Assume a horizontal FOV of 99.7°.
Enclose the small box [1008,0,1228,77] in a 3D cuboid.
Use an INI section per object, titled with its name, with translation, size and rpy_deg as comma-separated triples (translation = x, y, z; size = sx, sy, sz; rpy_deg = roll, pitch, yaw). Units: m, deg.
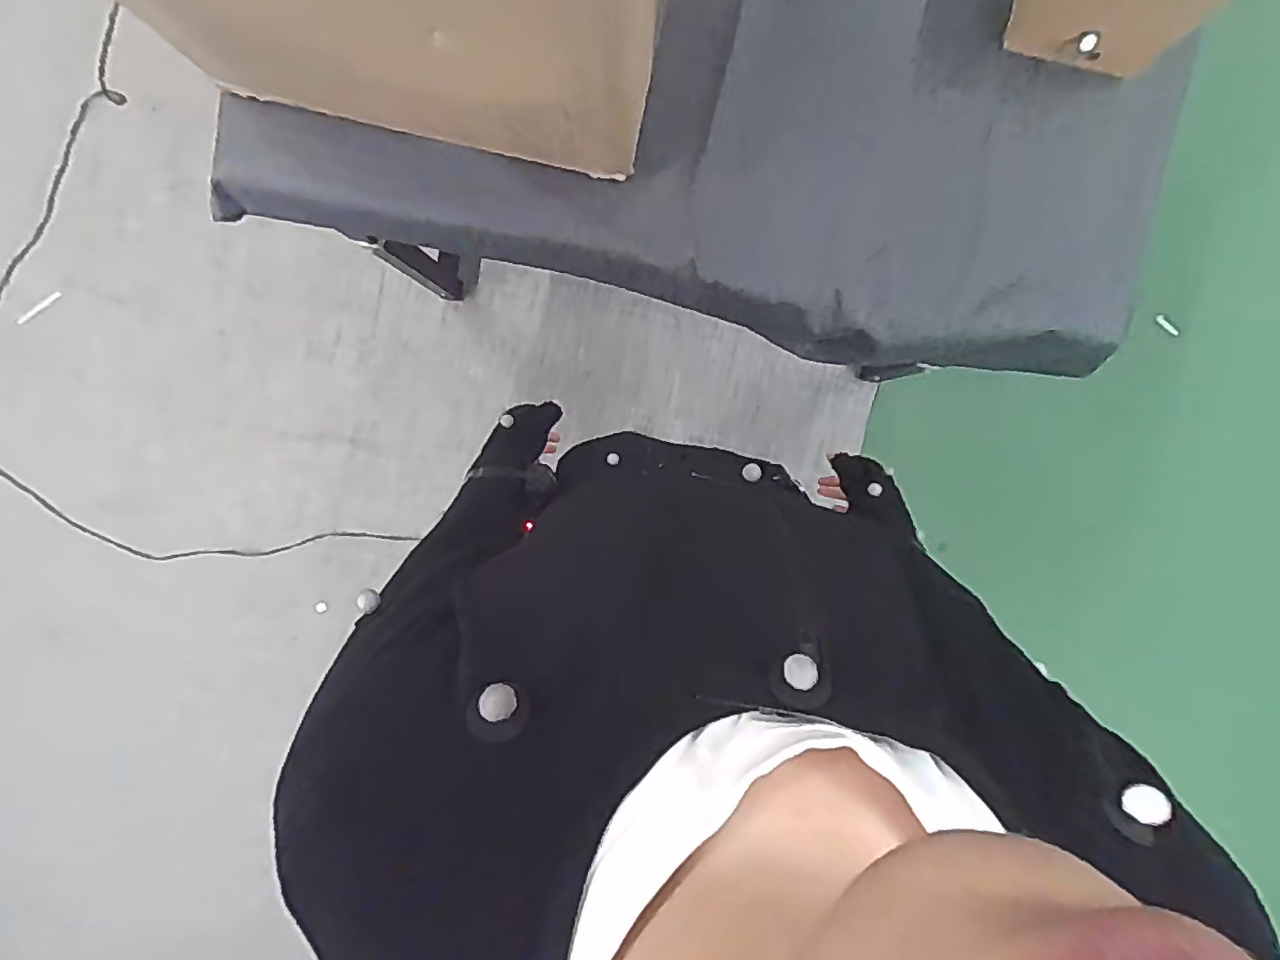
[small box]
translation = 0.554, -0.605, 0.598
size = 0.168, 0.176, 0.179
rpy_deg = 14, 96, 0
